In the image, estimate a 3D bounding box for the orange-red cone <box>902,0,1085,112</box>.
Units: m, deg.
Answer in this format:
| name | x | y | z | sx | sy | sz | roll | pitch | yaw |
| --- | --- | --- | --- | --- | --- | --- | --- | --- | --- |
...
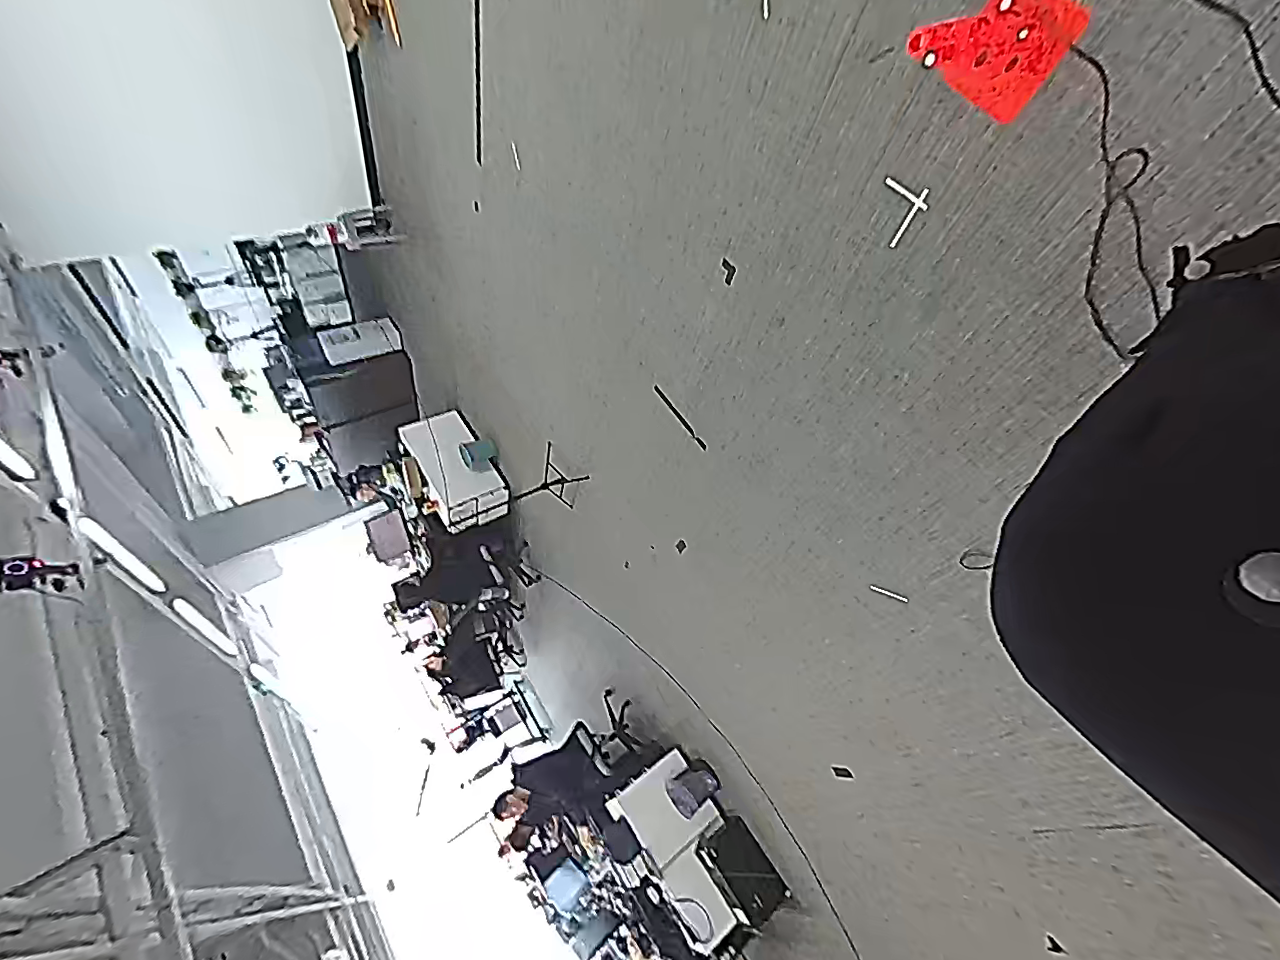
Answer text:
| name | x | y | z | sx | sy | sz | roll | pitch | yaw |
| --- | --- | --- | --- | --- | --- | --- | --- | --- | --- |
| orange-red cone | 0.608 | -0.828 | 1.011 | 0.198 | 0.360 | 0.199 | 56 | 151 | 18 |
